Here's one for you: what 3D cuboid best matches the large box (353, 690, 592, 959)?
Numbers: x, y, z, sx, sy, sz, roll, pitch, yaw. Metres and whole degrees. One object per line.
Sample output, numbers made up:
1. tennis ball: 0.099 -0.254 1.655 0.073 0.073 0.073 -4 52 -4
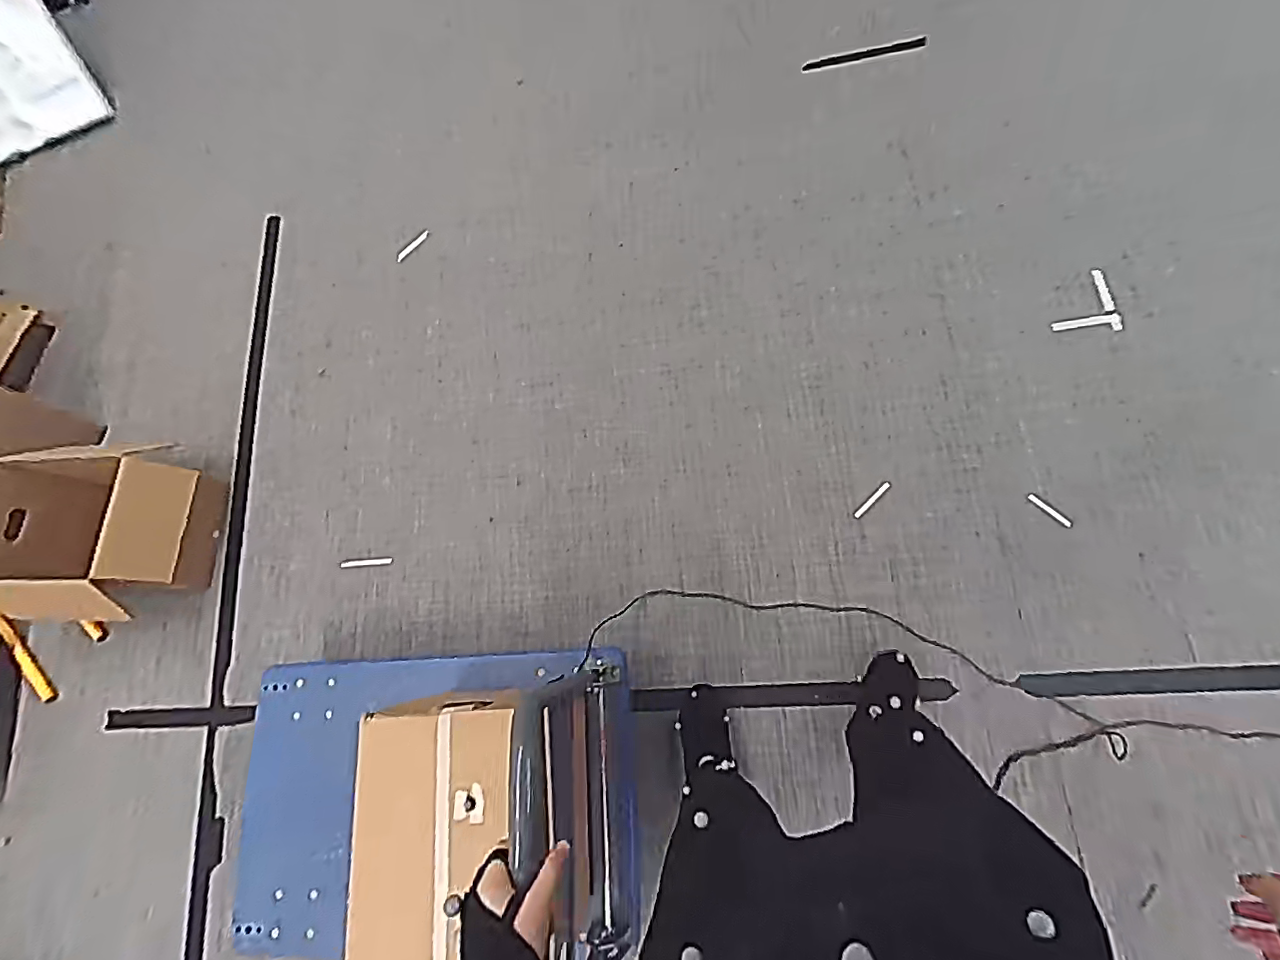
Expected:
1. large box: -0.281 0.622 0.995 0.320 0.320 0.408 -6 74 6
